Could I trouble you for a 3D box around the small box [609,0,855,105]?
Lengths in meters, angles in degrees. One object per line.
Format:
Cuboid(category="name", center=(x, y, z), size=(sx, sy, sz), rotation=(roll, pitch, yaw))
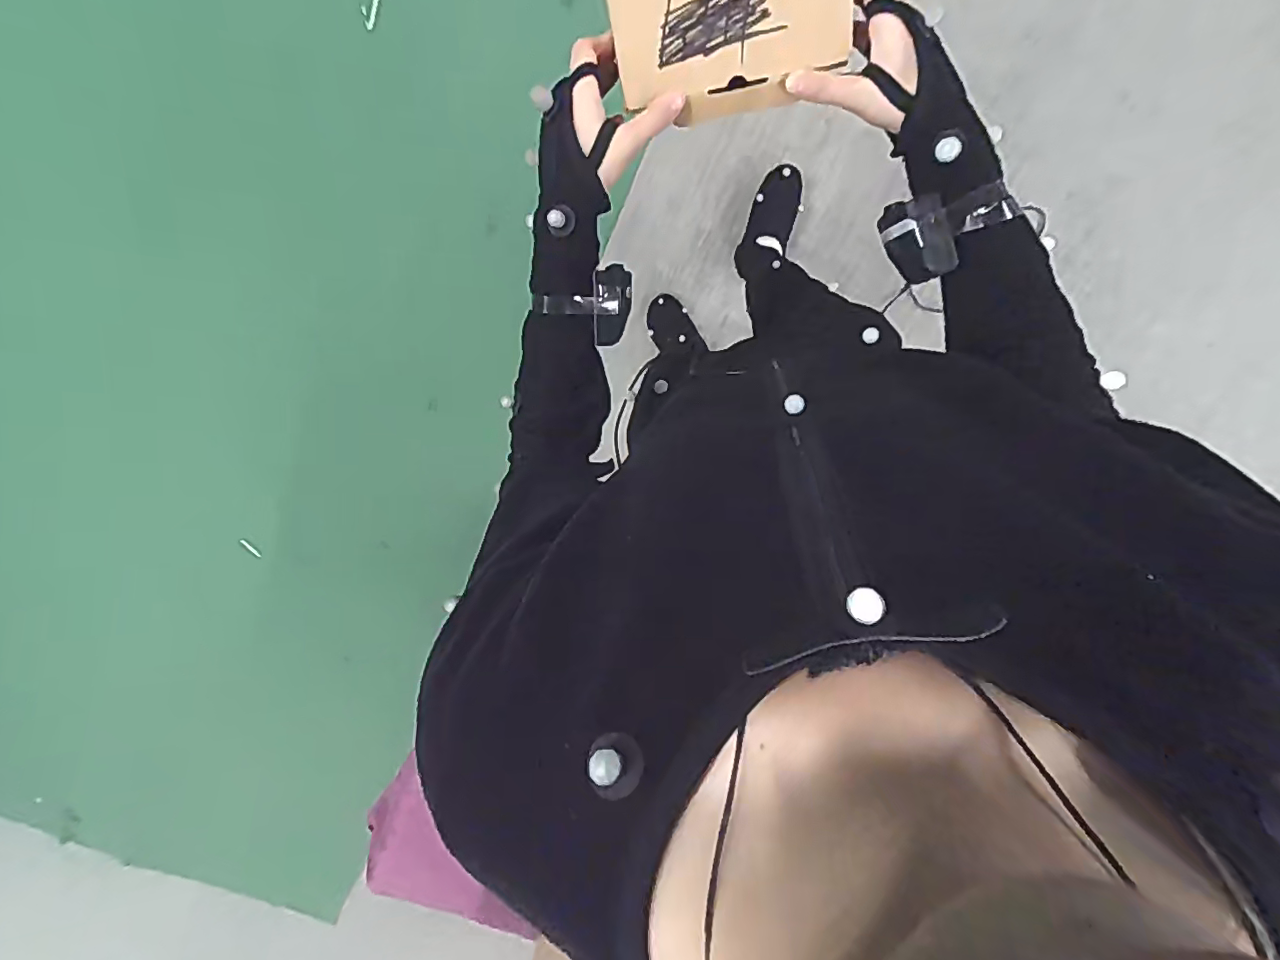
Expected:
Cuboid(category="small box", center=(0.055, -0.404, 0.408), size=(0.168, 0.176, 0.179), rotation=(-10, 123, 5))
